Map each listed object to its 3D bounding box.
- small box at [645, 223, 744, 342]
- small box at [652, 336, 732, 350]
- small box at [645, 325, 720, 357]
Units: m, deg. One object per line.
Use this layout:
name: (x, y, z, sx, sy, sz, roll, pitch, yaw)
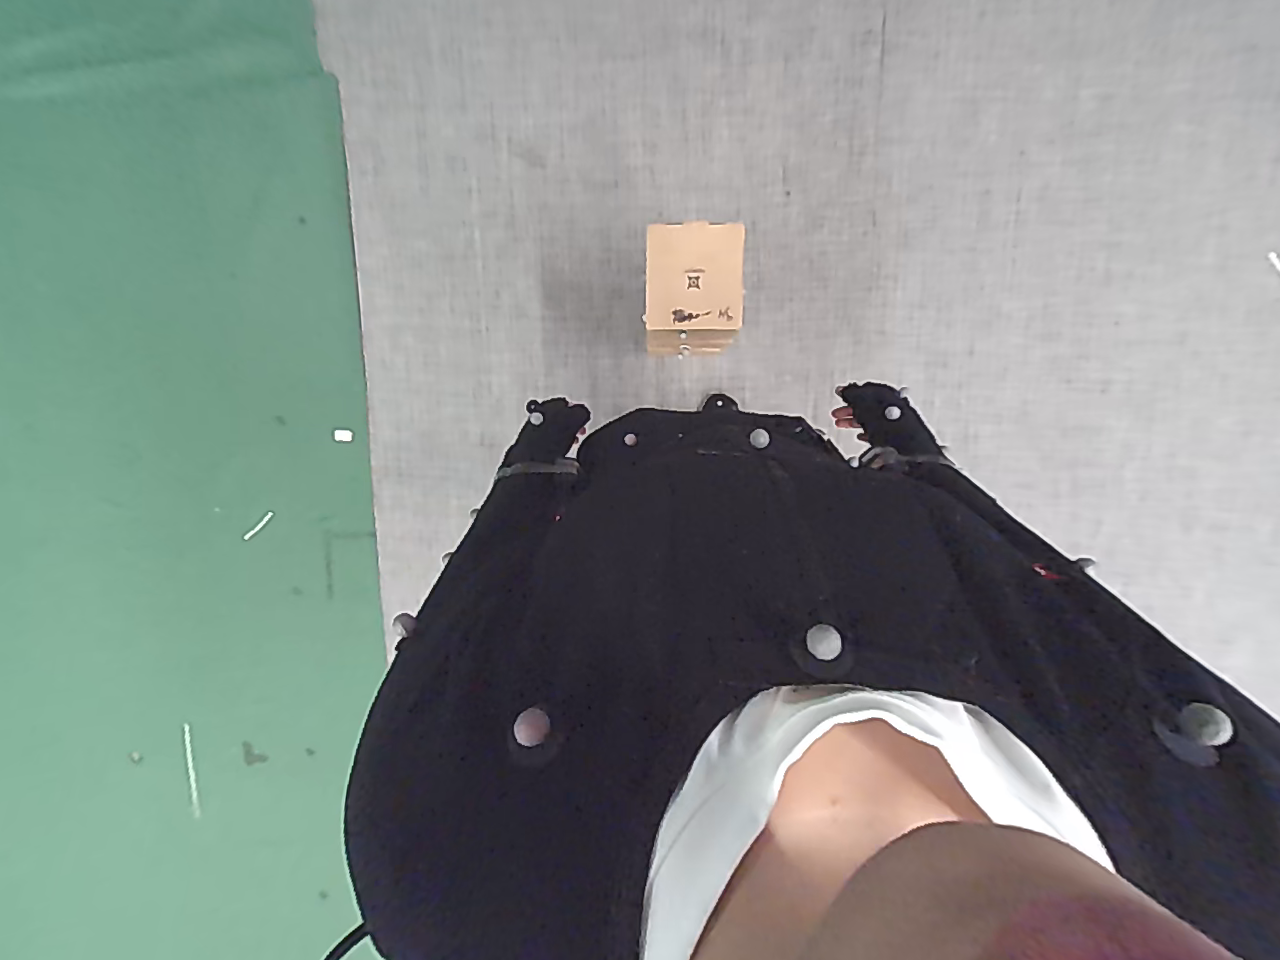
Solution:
small box: (0.096, -0.357, 1.001, 0.168, 0.176, 0.179, 1, 98, 4)
small box: (0.112, -0.378, 1.164, 0.168, 0.176, 0.179, 1, 99, 4)
small box: (0.106, -0.393, 1.324, 0.179, 0.176, 0.168, 2, 98, 4)
